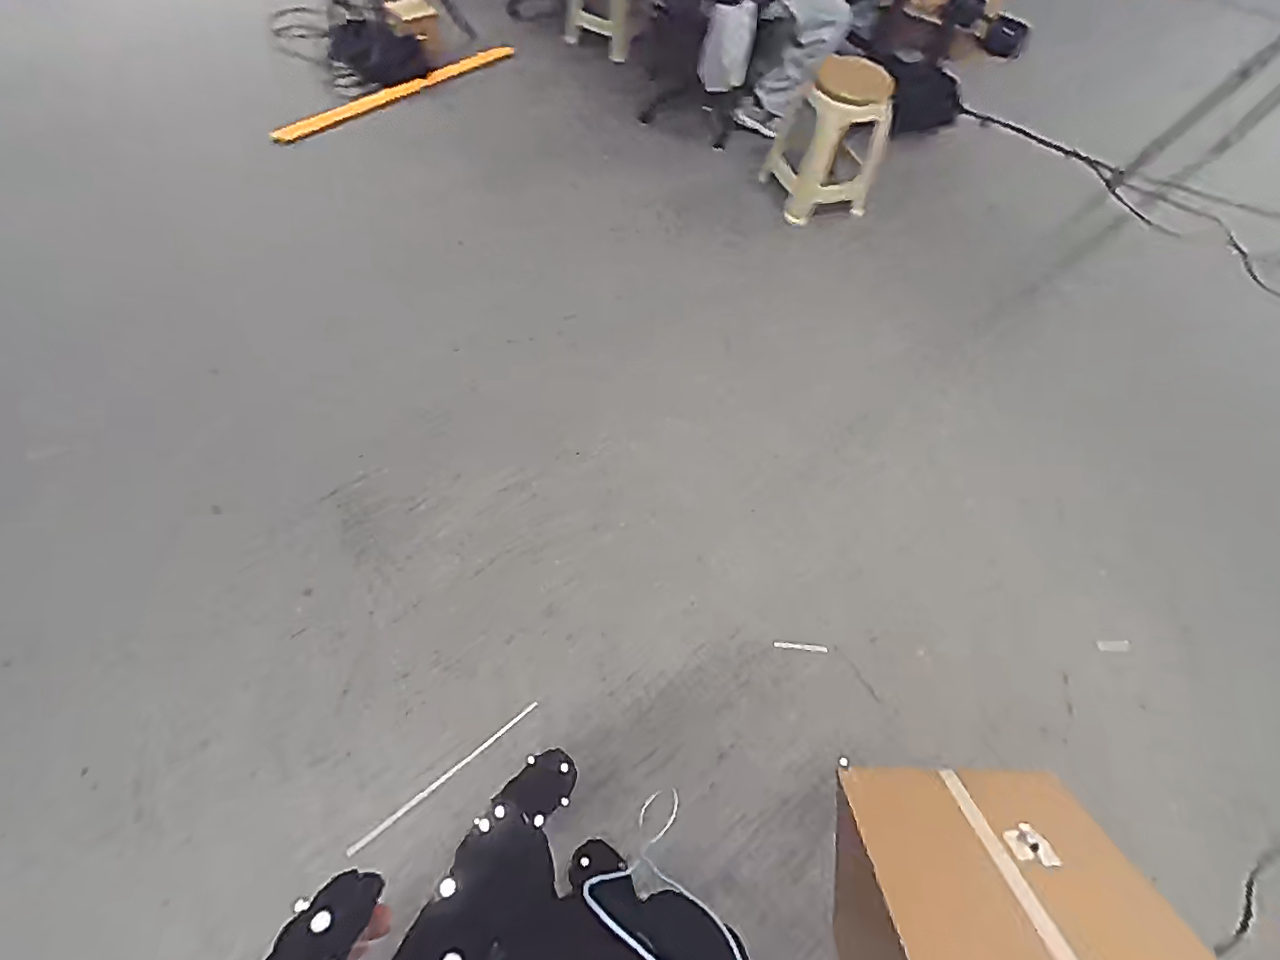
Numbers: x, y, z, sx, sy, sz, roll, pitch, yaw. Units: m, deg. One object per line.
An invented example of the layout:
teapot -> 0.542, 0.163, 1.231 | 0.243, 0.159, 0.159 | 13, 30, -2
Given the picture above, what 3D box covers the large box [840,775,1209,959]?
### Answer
large box -> 0.454, 0.641, 0.657 | 0.320, 0.408, 0.320 | -1, 101, 5
